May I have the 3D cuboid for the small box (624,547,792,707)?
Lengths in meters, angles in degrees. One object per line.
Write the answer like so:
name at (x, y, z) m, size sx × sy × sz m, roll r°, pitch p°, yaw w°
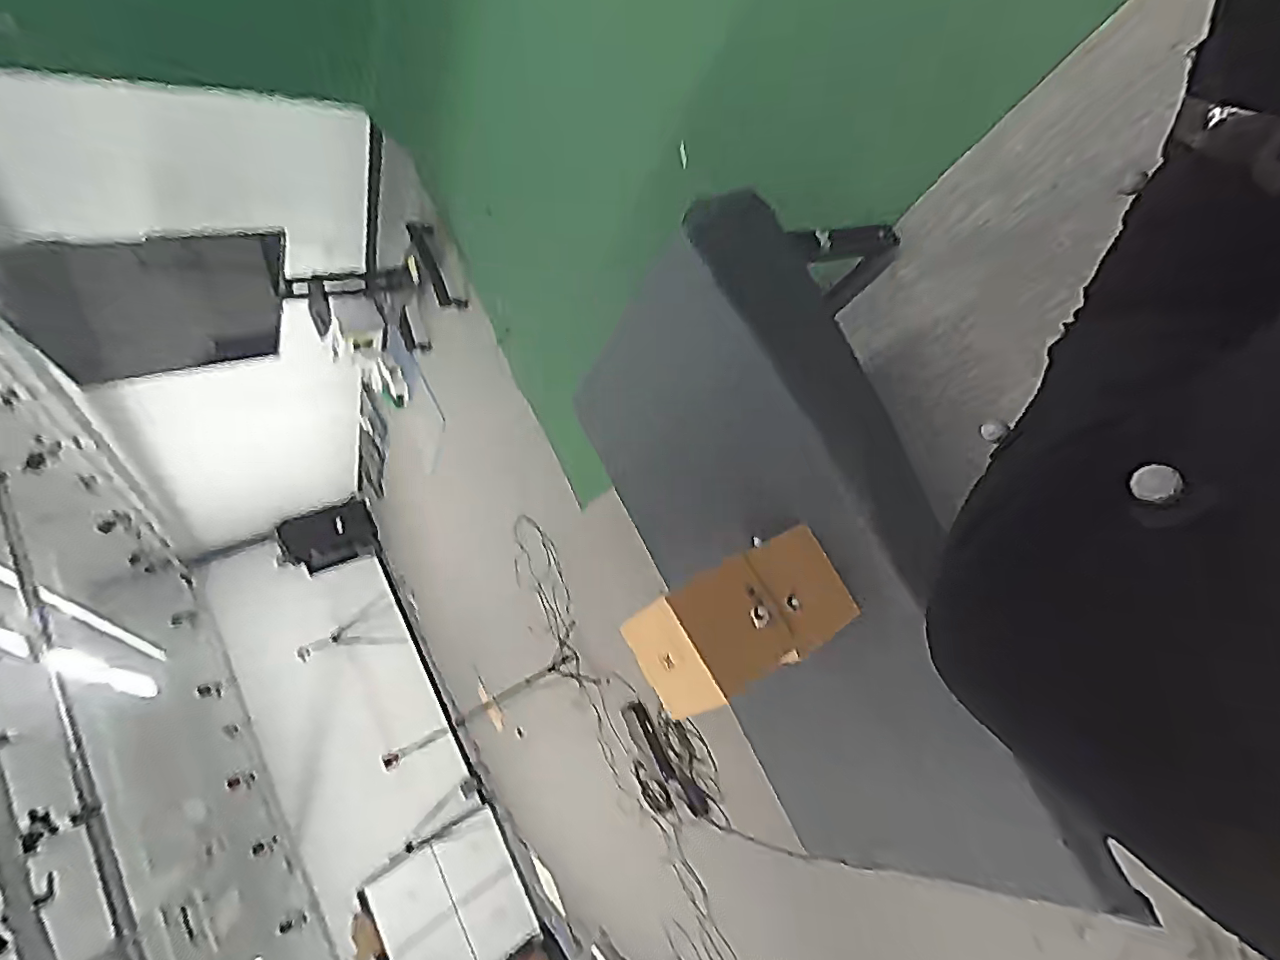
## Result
small box at (0.107, 0.234, 0.866) m, size 0.168 × 0.176 × 0.179 m, roll 57°, pitch 144°, yaw 15°

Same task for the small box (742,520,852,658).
small box at (0.235, 0.197, 0.957) m, size 0.179 × 0.176 × 0.168 m, roll 62°, pitch 146°, yaw 12°
